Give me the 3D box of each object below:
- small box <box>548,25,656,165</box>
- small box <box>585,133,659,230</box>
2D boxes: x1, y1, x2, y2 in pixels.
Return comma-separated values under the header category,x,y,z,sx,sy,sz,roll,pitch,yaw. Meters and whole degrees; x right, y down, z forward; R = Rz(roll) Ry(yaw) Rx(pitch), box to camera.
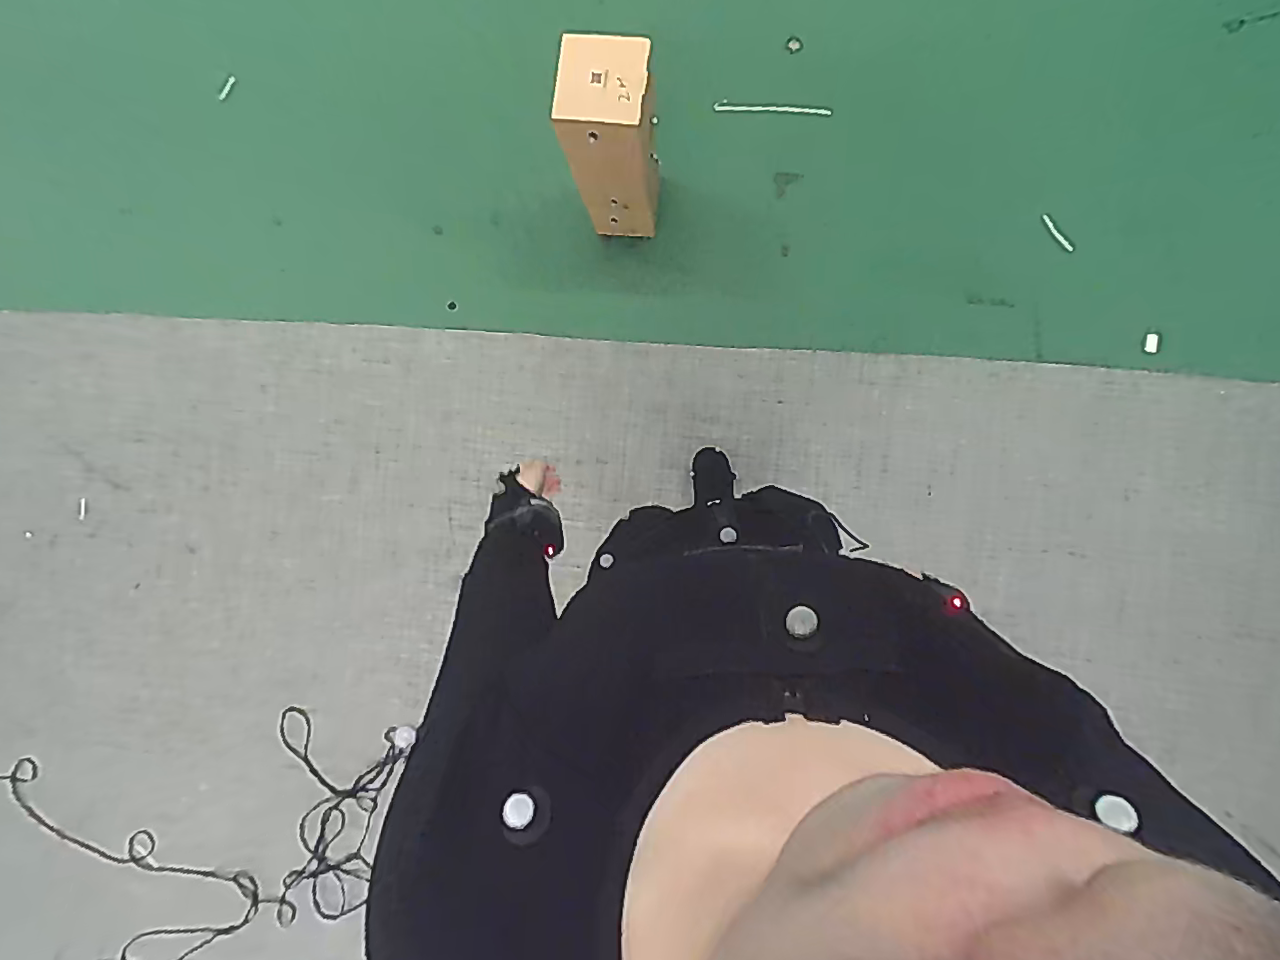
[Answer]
category,x,y,z,sx,sy,sz,roll,pitch,yaw
small box,-0.070,-0.768,1.095,0.179,0.176,0.168,9,92,5
small box,-0.042,-0.780,1.423,0.168,0.176,0.179,6,91,5
